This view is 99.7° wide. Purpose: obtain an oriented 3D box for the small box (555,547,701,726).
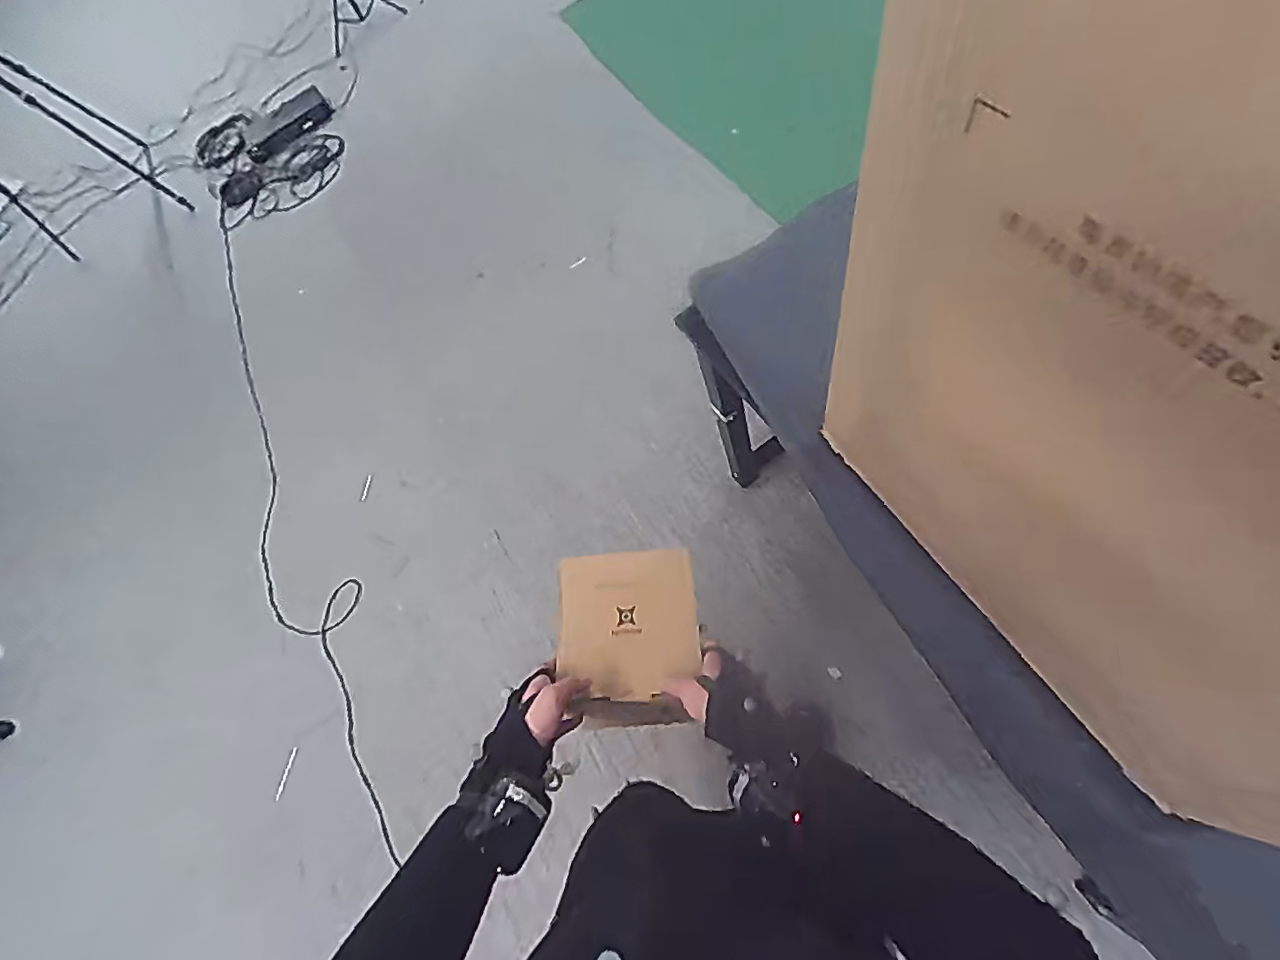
[{"bbox_3d":[-0.012,0.210,0.703,0.168,0.176,0.179,-6,53,0],"label":"small box"}]
